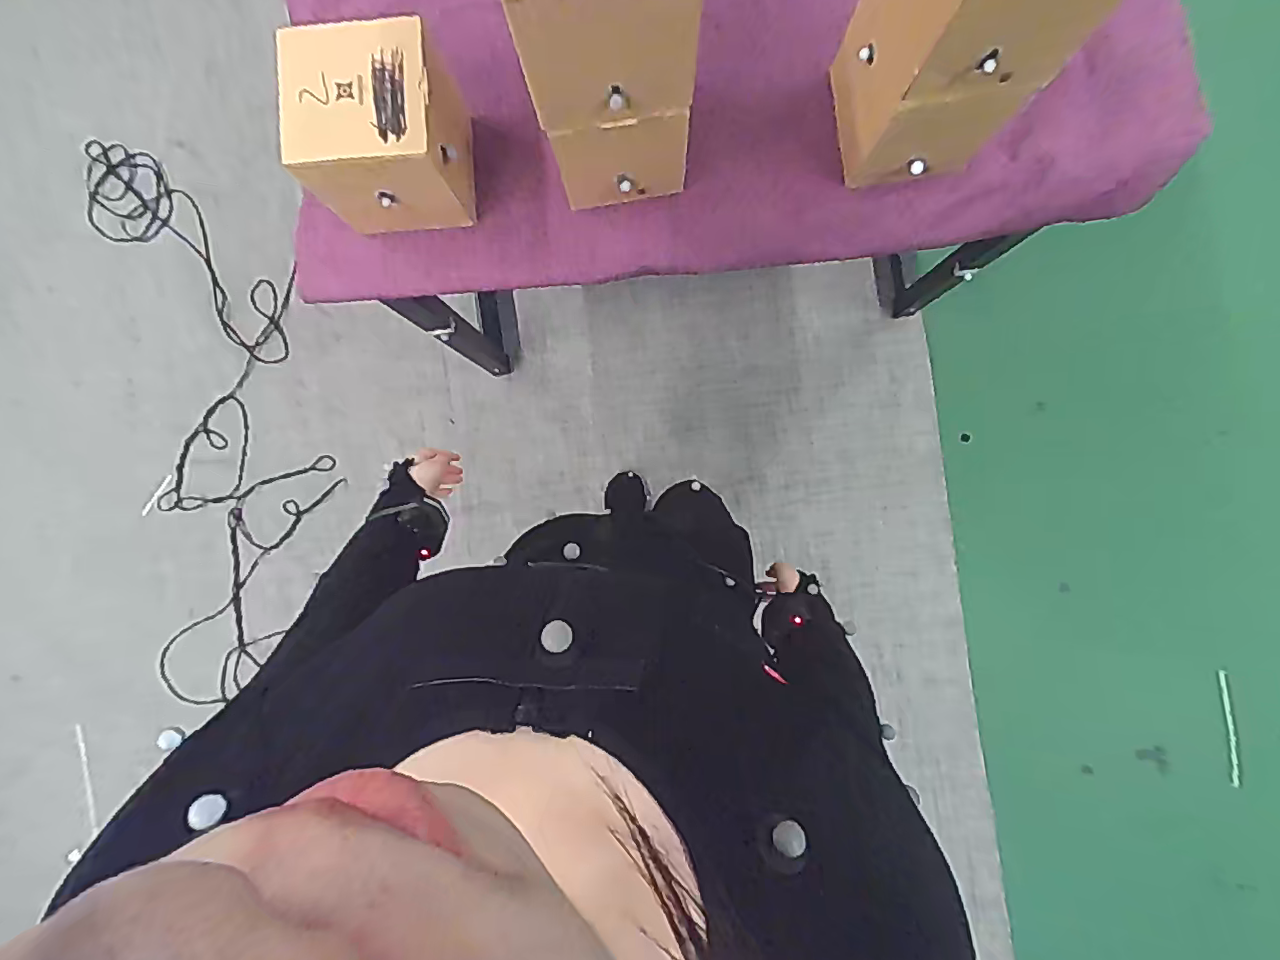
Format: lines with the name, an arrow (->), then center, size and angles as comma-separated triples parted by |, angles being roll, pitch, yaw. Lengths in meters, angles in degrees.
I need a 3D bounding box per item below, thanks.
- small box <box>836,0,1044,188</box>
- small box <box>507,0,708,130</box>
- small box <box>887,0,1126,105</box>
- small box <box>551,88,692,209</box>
small box -> 0.363, -0.509, 0.689 | 0.168, 0.176, 0.179 | -7, 89, 2
small box -> -0.037, -0.488, 0.534 | 0.179, 0.176, 0.168 | -9, 87, 1
small box -> 0.359, -0.516, 0.526 | 0.168, 0.176, 0.179 | -8, 89, 2
small box -> -0.031, -0.487, 0.698 | 0.168, 0.176, 0.179 | -9, 88, 2
